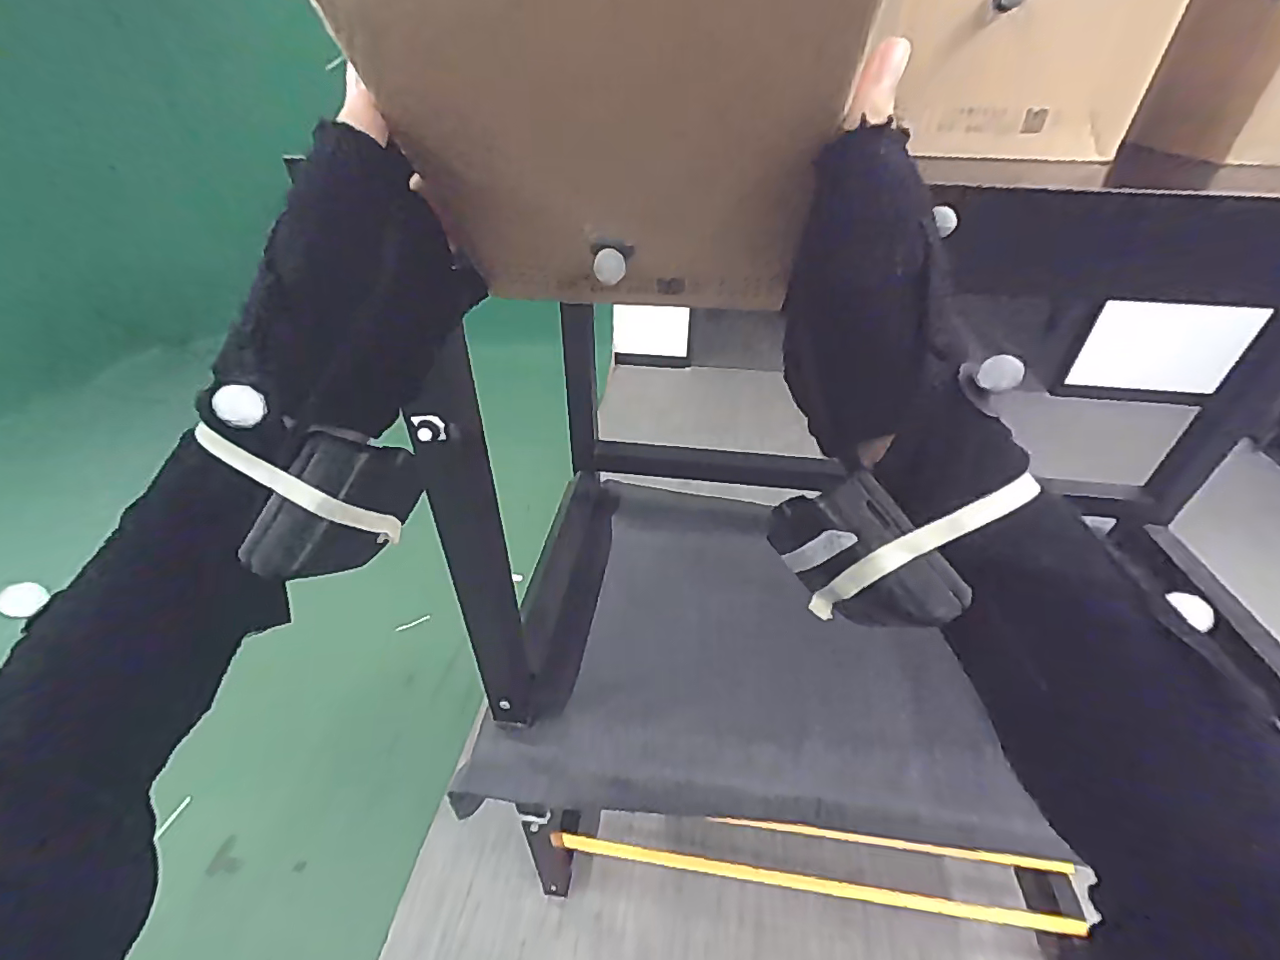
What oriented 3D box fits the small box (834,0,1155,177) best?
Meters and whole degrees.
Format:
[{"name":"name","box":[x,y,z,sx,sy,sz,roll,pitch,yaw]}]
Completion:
[{"name":"small box","box":[0.260,-0.342,0.420,0.168,0.176,0.179,5,37,6]}]

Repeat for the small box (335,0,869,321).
[{"name":"small box","box":[-0.002,-0.200,0.257,0.168,0.176,0.179,4,77,6]}]
